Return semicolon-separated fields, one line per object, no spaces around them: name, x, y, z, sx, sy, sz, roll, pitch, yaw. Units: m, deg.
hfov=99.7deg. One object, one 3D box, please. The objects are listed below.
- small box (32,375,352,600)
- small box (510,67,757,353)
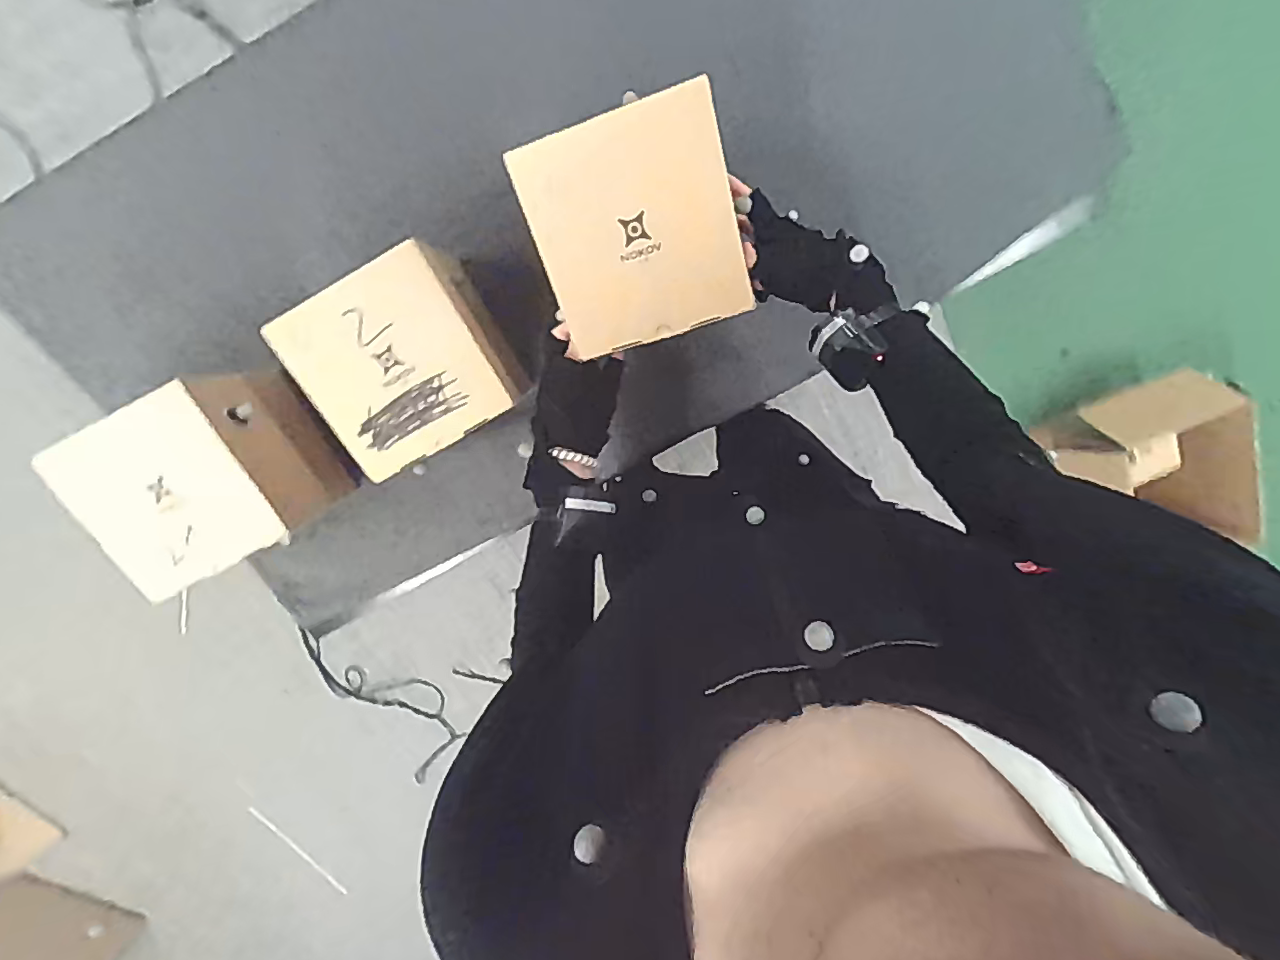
small box;-0.469;-0.006;0.602;0.168;0.176;0.179;-27;106;3
small box;0.002;-0.245;0.507;0.168;0.176;0.179;-14;120;11
